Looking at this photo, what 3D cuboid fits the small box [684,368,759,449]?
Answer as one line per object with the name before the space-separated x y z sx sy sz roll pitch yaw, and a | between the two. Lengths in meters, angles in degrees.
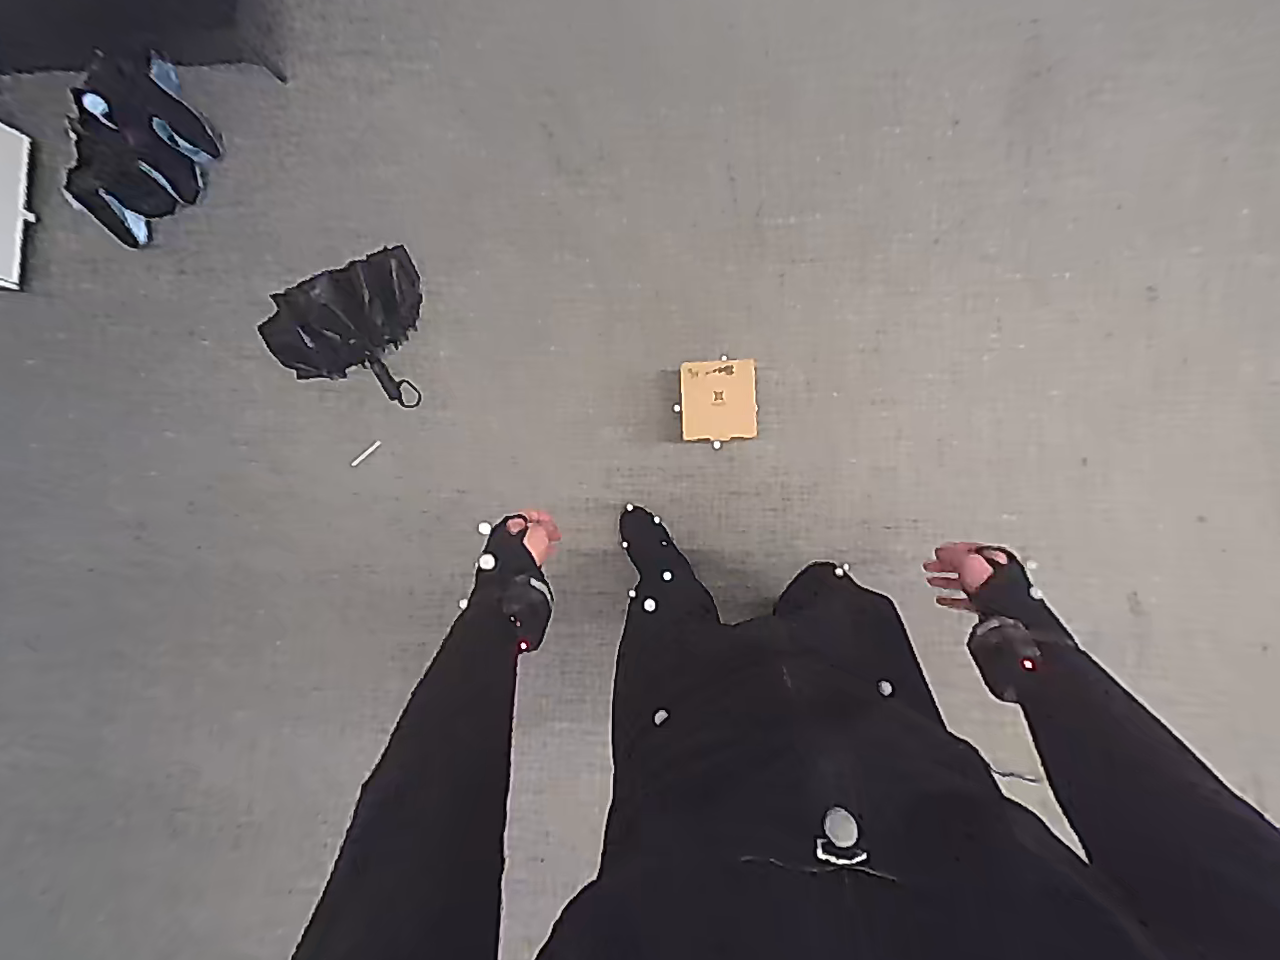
small box | 0.188 -0.162 1.275 0.168 0.176 0.179 -2 90 5
